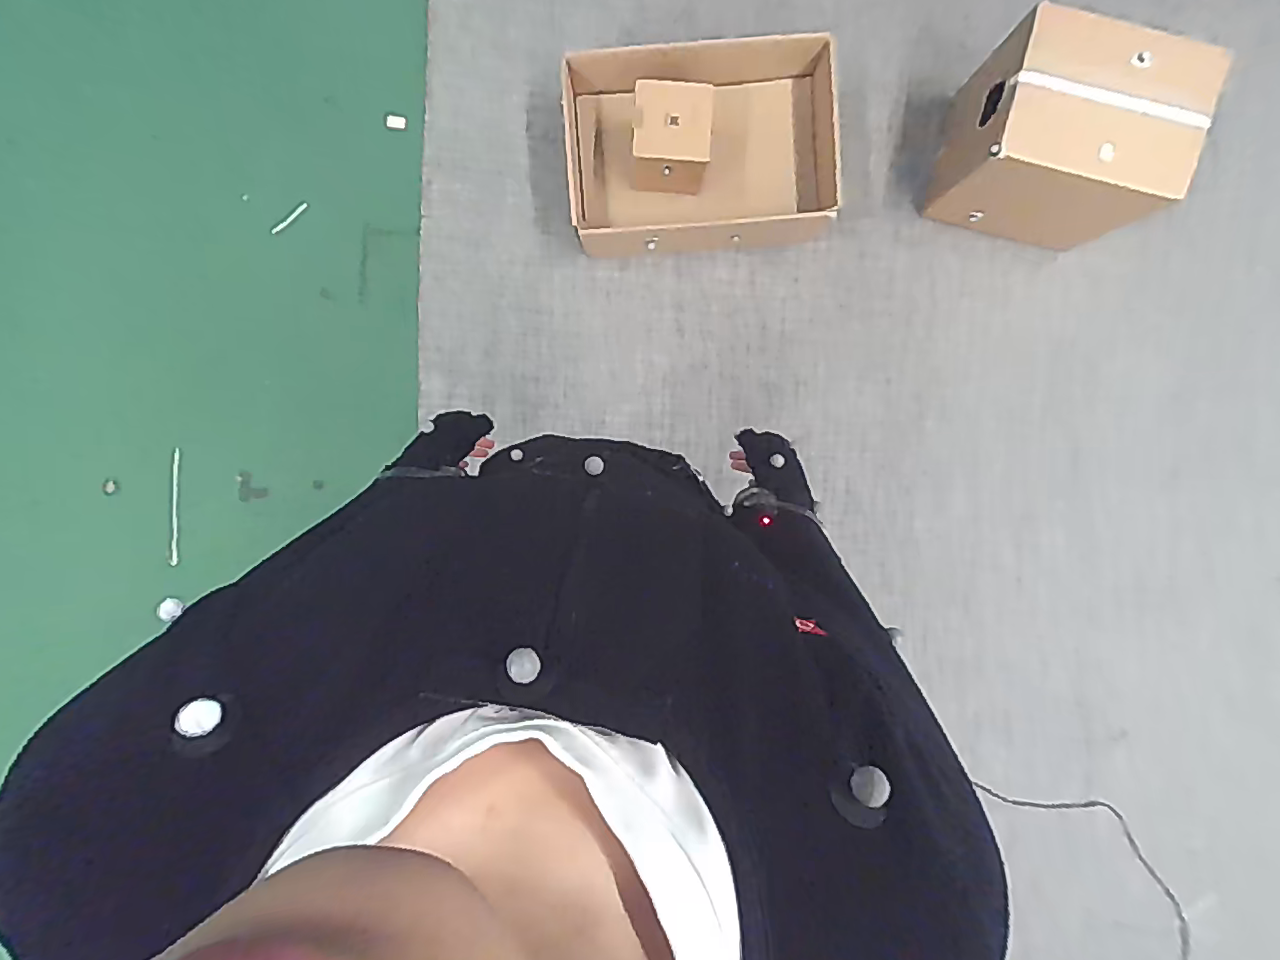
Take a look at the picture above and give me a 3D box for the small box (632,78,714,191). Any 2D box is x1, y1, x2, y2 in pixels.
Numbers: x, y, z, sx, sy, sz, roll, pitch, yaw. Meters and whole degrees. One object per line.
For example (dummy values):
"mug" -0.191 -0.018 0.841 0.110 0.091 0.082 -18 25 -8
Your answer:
"small box" 0.071 -0.807 1.279 0.179 0.176 0.168 3 95 -2
